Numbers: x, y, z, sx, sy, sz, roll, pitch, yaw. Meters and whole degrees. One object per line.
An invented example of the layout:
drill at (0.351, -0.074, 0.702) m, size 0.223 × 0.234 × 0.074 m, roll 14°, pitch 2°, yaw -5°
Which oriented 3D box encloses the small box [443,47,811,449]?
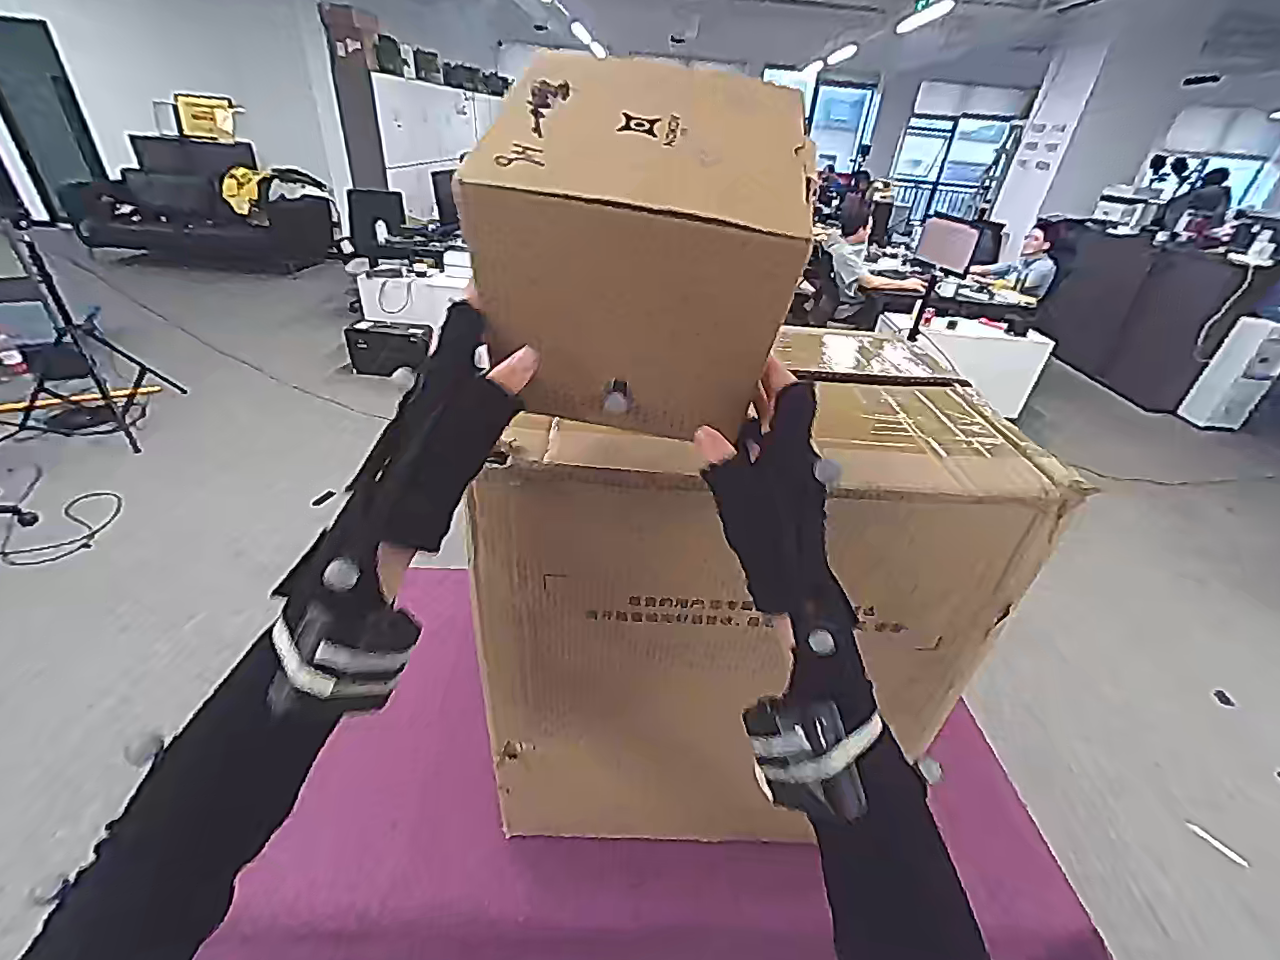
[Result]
small box at (-0.003, -0.139, 0.359) m, size 0.179 × 0.176 × 0.168 m, roll 10°, pitch 57°, yaw 0°
